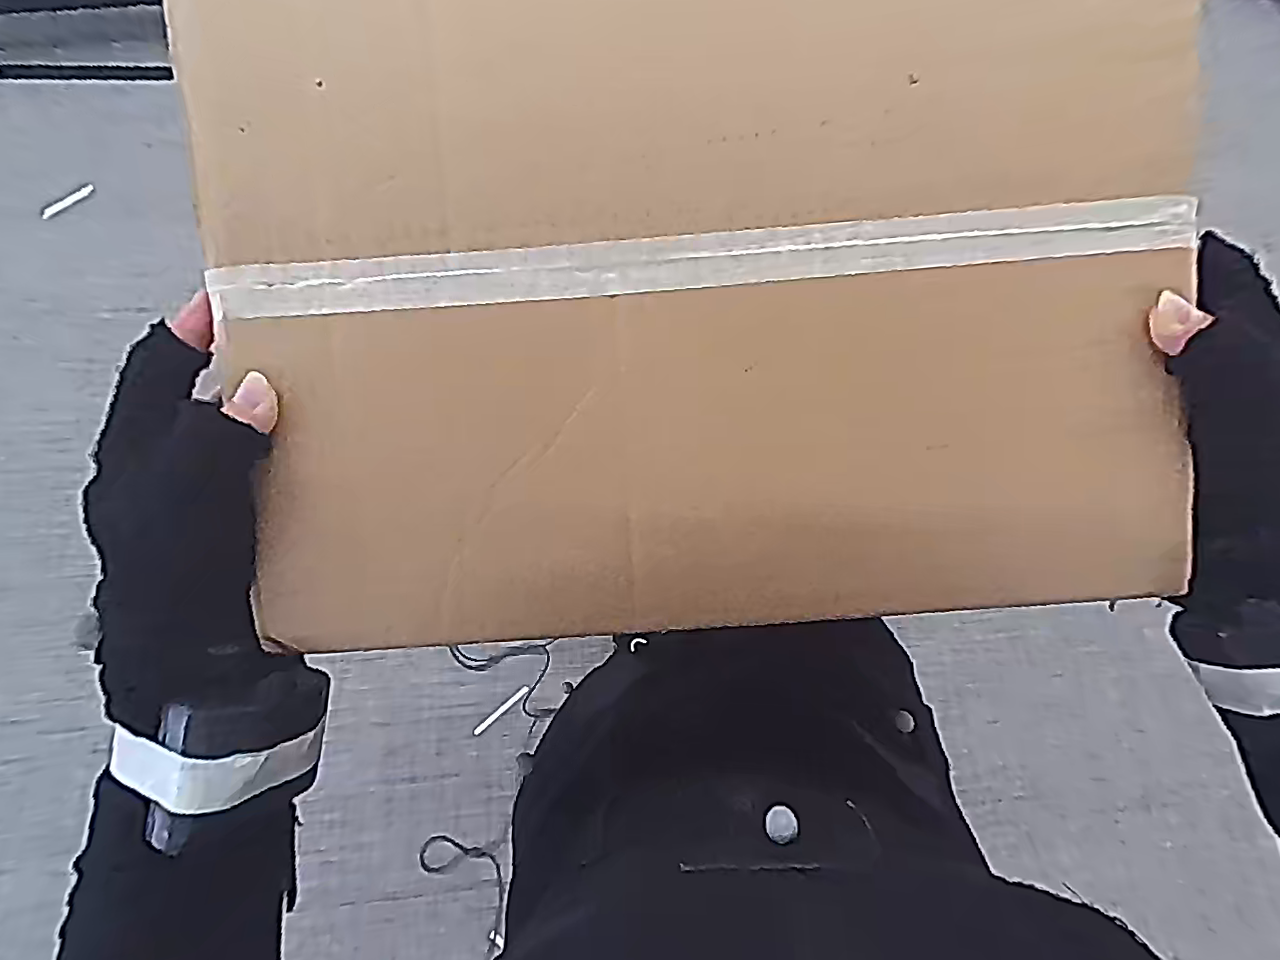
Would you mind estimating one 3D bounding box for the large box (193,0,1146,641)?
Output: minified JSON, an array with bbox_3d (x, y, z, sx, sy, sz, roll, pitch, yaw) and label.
[{"bbox_3d":[0.021,-0.106,0.386,0.408,0.320,0.320,-4,95,0],"label":"large box"}]
